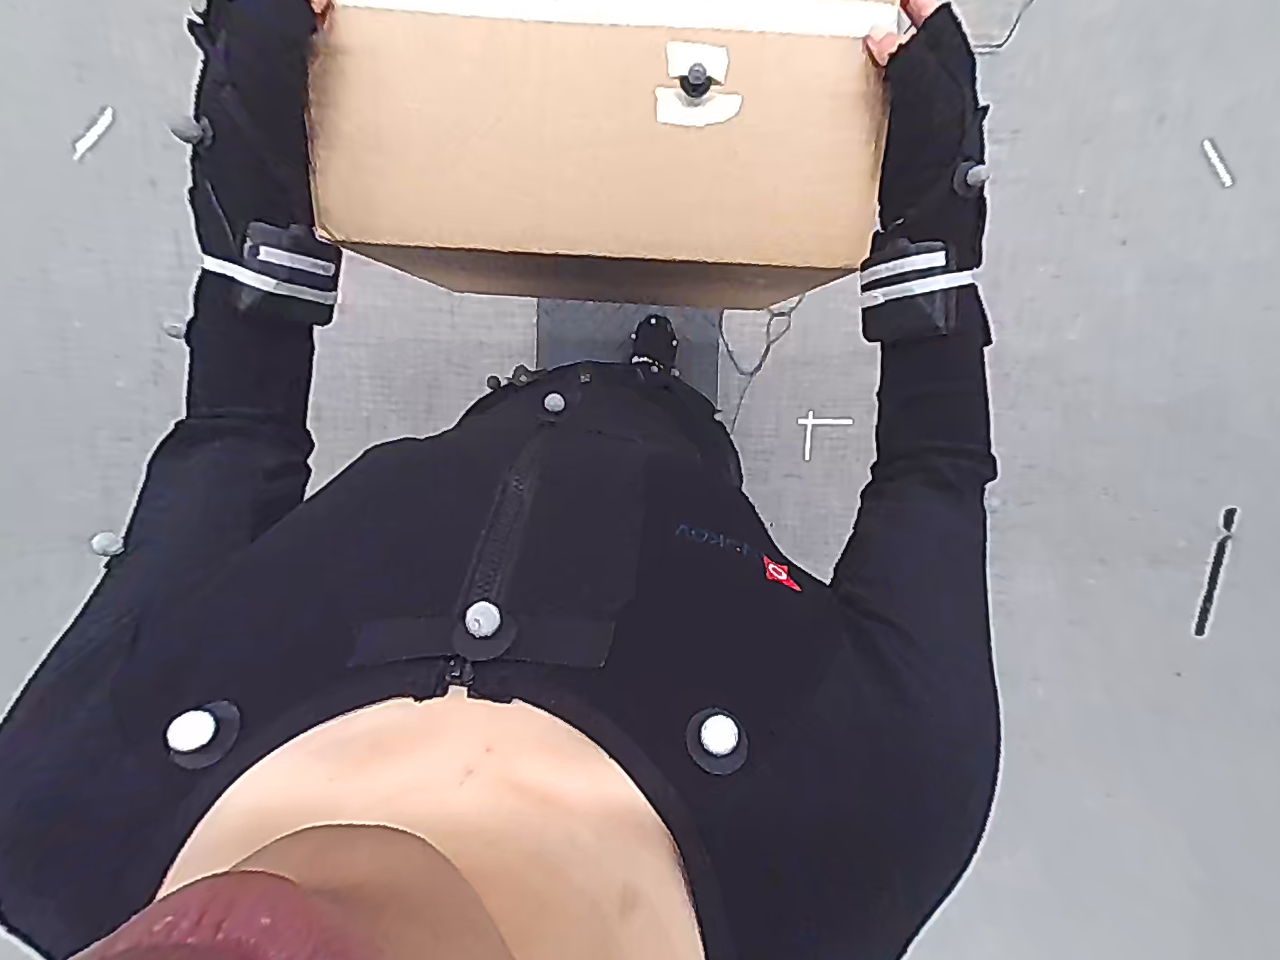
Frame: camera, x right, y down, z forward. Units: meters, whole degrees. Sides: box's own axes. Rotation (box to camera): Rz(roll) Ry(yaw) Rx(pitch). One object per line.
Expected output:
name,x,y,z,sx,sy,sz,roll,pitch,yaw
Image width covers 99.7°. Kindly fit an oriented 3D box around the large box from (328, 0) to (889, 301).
large box,-0.026,-0.360,0.529,0.408,0.320,0.320,2,102,-2
